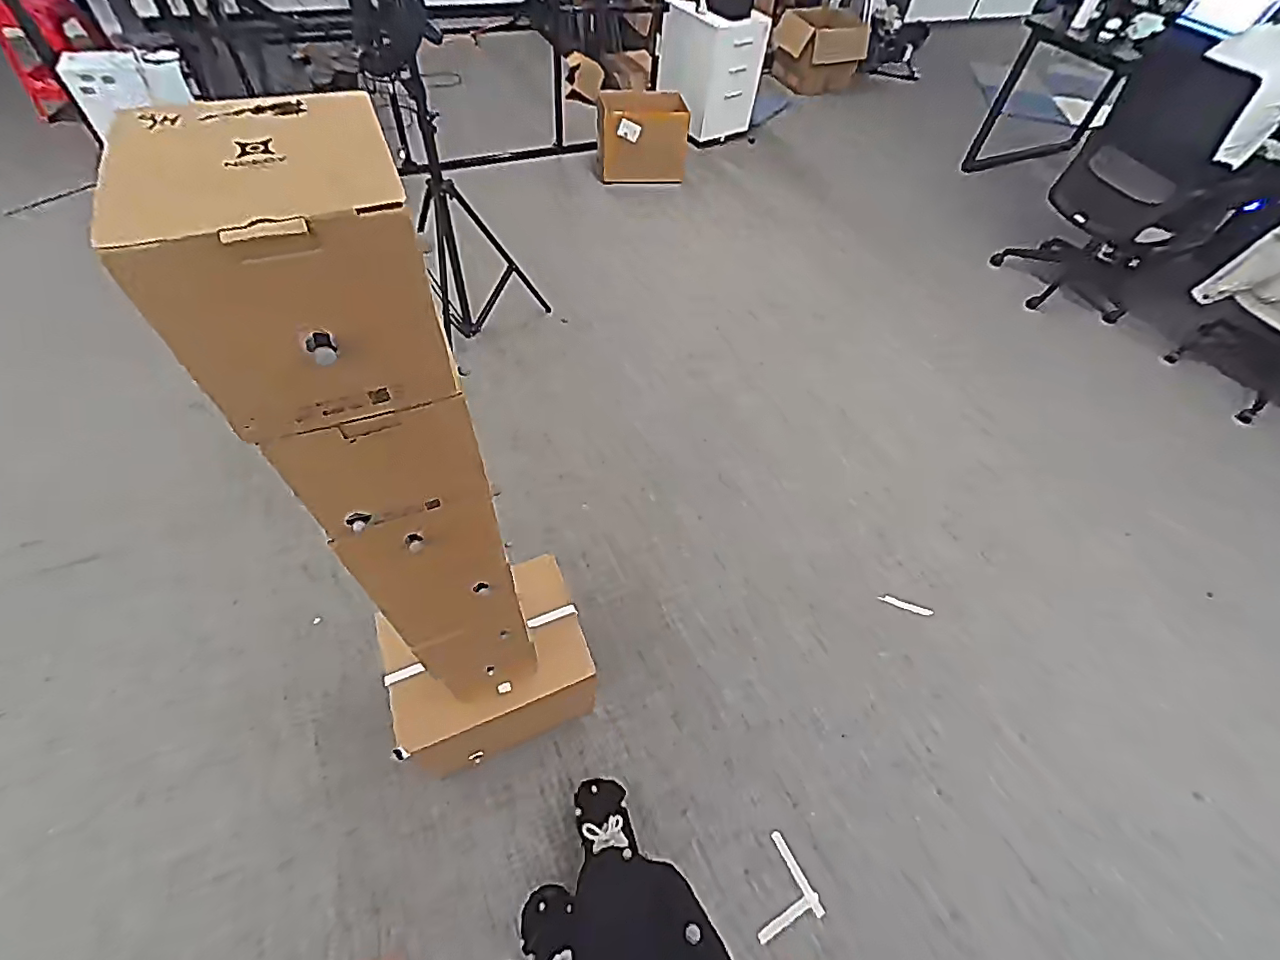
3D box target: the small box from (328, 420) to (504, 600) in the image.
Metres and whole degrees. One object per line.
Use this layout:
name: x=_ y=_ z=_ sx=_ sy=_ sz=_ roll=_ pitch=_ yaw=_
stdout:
small box: x=-0.280 y=0.029 z=0.690 sx=0.179 sy=0.176 sz=0.168 roll=-17 pitch=59 yaw=-16

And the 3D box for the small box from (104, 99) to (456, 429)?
small box: x=-0.257 y=-0.159 z=0.422 sx=0.168 sy=0.176 sz=0.179 roll=-18 pitch=60 yaw=-17

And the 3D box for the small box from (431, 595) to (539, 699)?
small box: x=-0.315 y=0.314 z=1.088 sx=0.179 sy=0.176 sz=0.168 roll=-20 pitch=60 yaw=-19

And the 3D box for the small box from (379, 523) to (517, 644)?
small box: x=-0.292 y=0.123 z=0.821 sx=0.179 sy=0.176 sz=0.168 roll=-17 pitch=58 yaw=-17

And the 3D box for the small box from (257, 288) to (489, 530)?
small box: x=-0.265 y=-0.068 z=0.558 sx=0.168 sy=0.176 sz=0.179 roll=-17 pitch=58 yaw=-16
